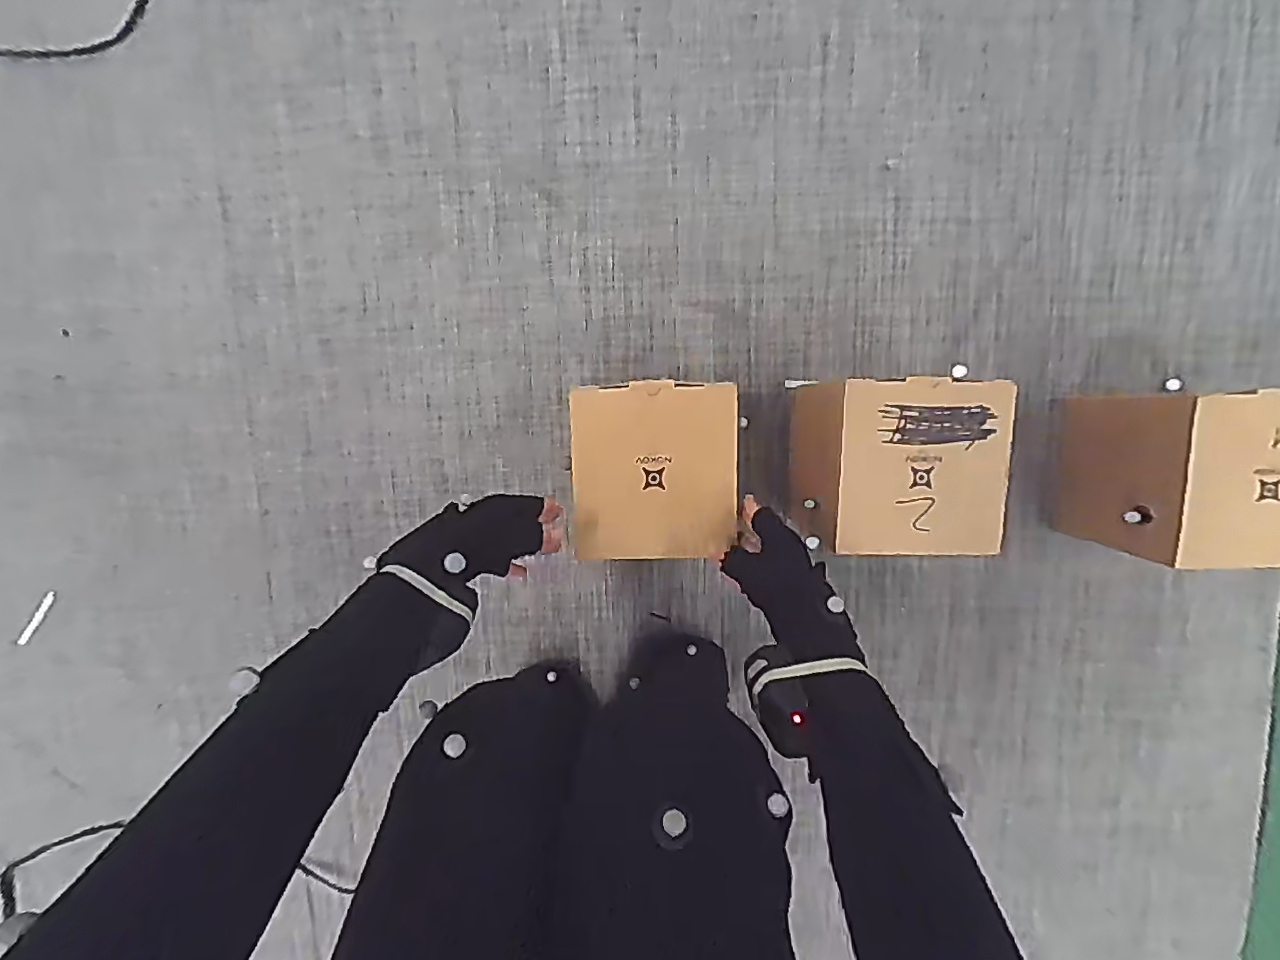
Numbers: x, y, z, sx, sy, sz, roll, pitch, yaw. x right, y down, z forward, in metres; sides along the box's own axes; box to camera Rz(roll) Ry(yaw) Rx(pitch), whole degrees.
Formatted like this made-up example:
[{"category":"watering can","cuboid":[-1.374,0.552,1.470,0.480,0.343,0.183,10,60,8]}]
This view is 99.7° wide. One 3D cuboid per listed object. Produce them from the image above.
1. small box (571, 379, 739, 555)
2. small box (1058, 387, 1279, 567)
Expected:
[{"category":"small box","cuboid":[0.019,-0.022,0.612,0.168,0.176,0.179,-1,97,2]},{"category":"small box","cuboid":[0.608,-0.013,0.600,0.168,0.176,0.179,-1,98,1]}]
